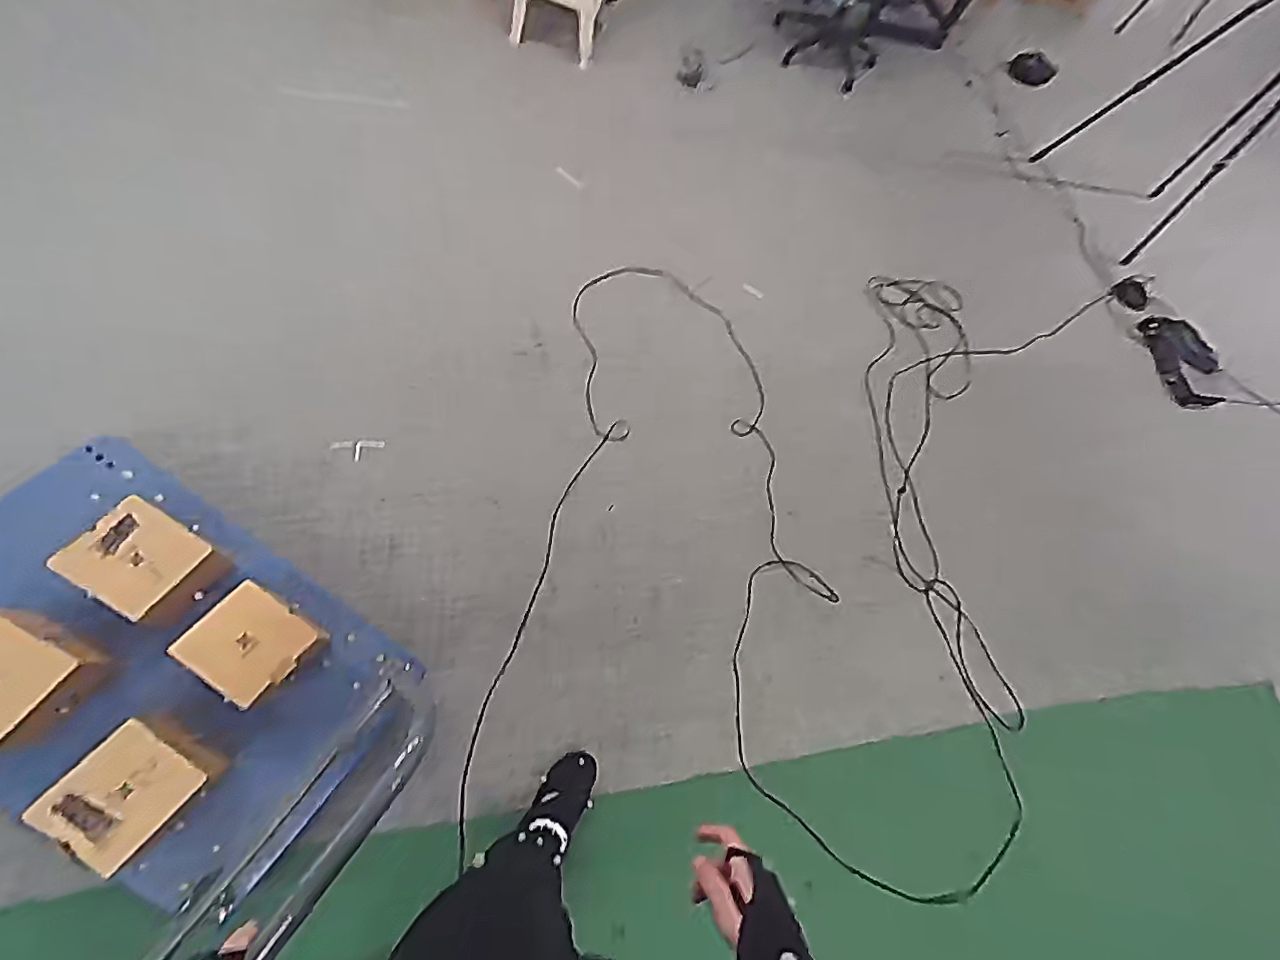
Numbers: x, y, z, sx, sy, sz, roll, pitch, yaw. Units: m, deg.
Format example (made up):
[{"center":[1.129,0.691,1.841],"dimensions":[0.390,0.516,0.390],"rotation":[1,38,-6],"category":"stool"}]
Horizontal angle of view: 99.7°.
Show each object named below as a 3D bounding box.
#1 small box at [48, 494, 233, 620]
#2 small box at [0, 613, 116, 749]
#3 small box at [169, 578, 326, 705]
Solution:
[{"center":[-0.950,0.158,1.050],"dimensions":[0.179,0.176,0.168],"rotation":[39,63,-8],"category":"small box"},{"center":[-1.083,0.341,0.933],"dimensions":[0.179,0.176,0.168],"rotation":[36,62,-8],"category":"small box"},{"center":[-0.764,0.323,1.077],"dimensions":[0.179,0.176,0.168],"rotation":[42,62,-6],"category":"small box"}]
